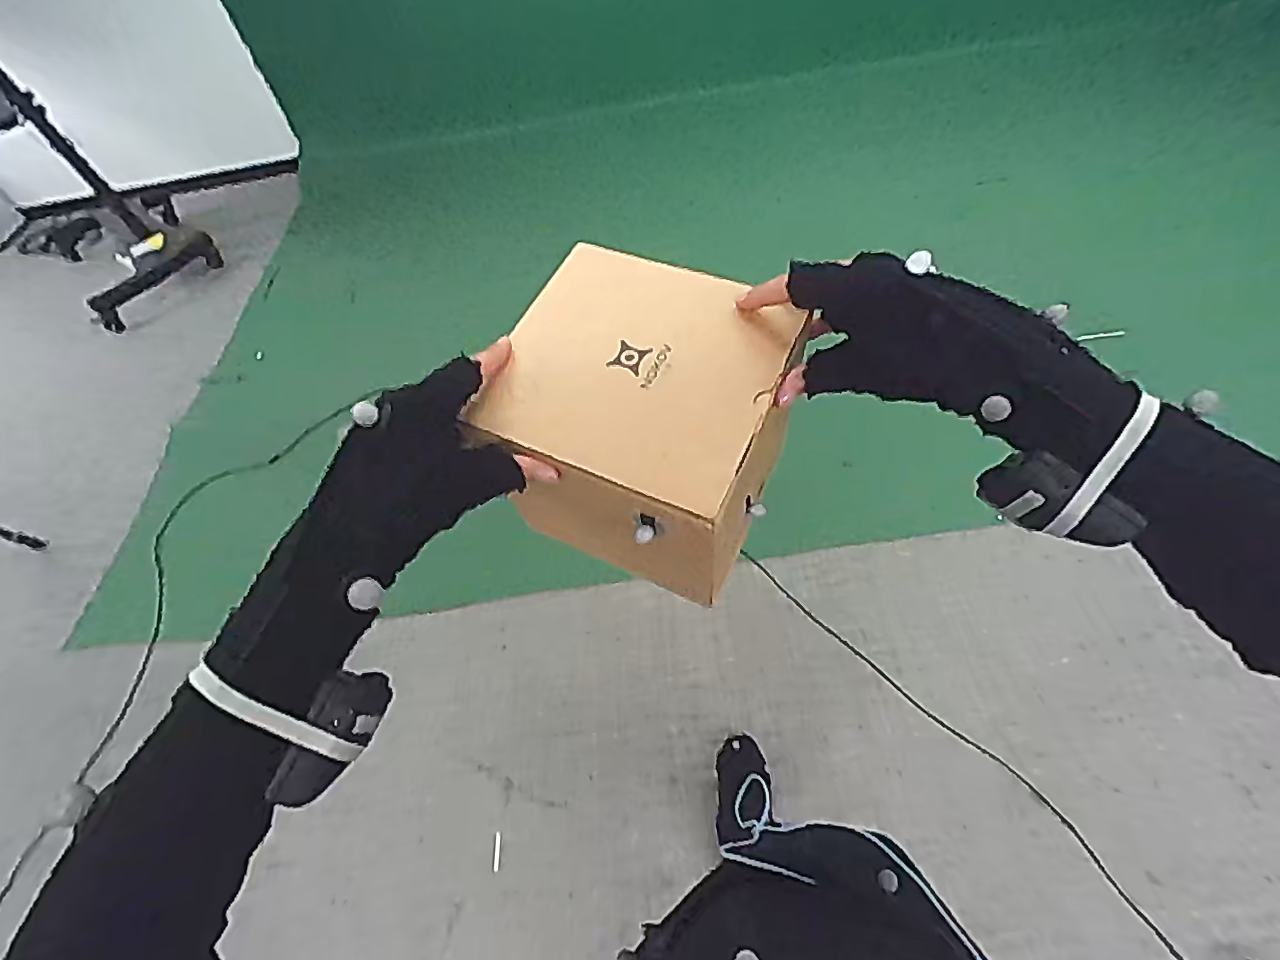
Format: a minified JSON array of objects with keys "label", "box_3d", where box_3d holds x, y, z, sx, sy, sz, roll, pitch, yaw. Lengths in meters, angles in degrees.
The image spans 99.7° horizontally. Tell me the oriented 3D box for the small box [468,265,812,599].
[{"label":"small box","box_3d":[0.009,-0.029,0.418,0.179,0.176,0.168,22,66,17]}]
